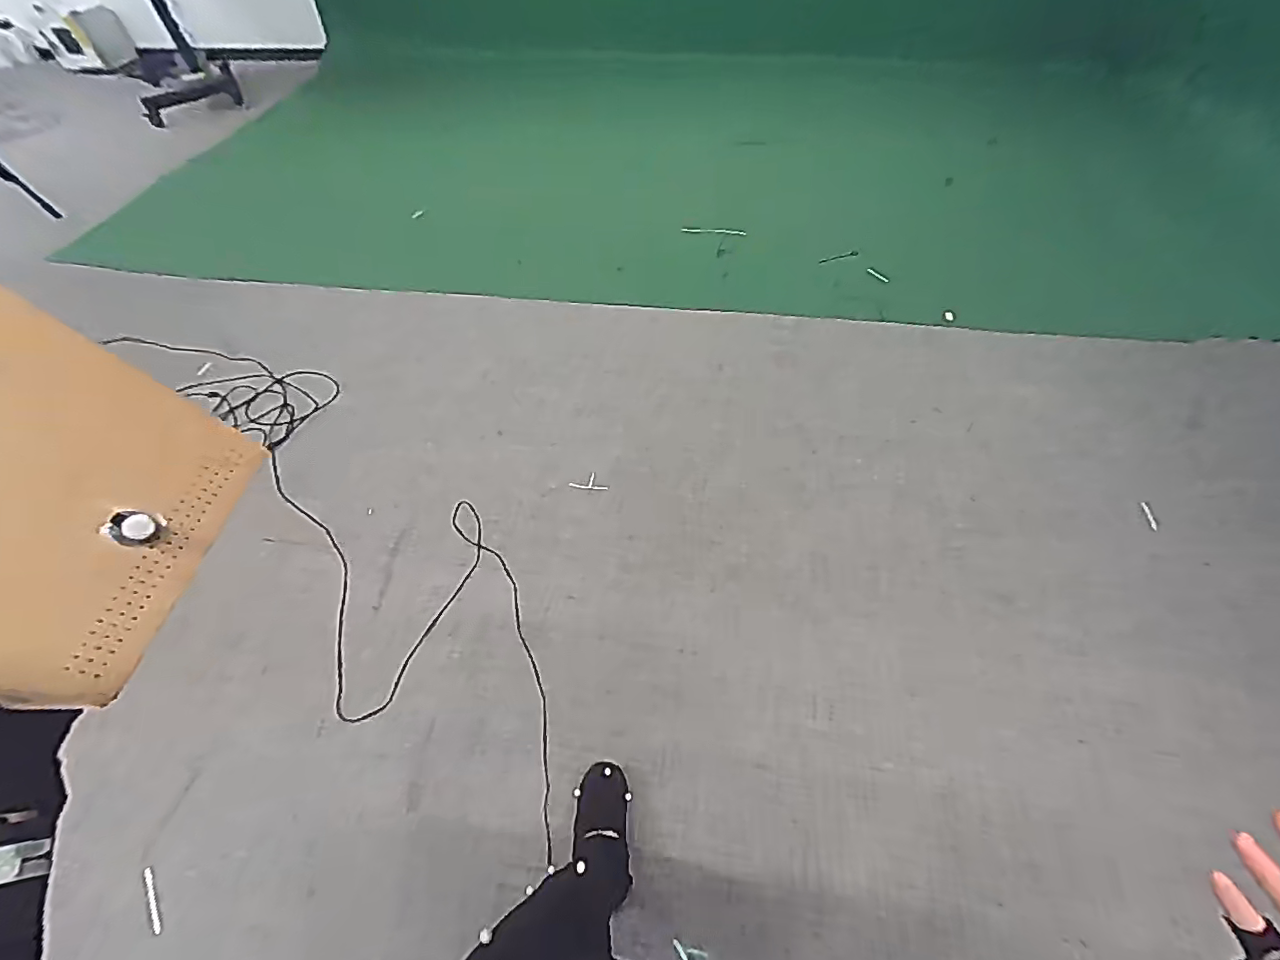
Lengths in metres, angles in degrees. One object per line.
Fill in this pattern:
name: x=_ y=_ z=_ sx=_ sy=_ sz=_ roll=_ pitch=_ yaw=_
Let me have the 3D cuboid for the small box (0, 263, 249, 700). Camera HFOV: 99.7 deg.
small box: x=-0.375 y=0.011 z=0.309 sx=0.168 sy=0.176 sz=0.179 roll=-11 pitch=52 yaw=25
